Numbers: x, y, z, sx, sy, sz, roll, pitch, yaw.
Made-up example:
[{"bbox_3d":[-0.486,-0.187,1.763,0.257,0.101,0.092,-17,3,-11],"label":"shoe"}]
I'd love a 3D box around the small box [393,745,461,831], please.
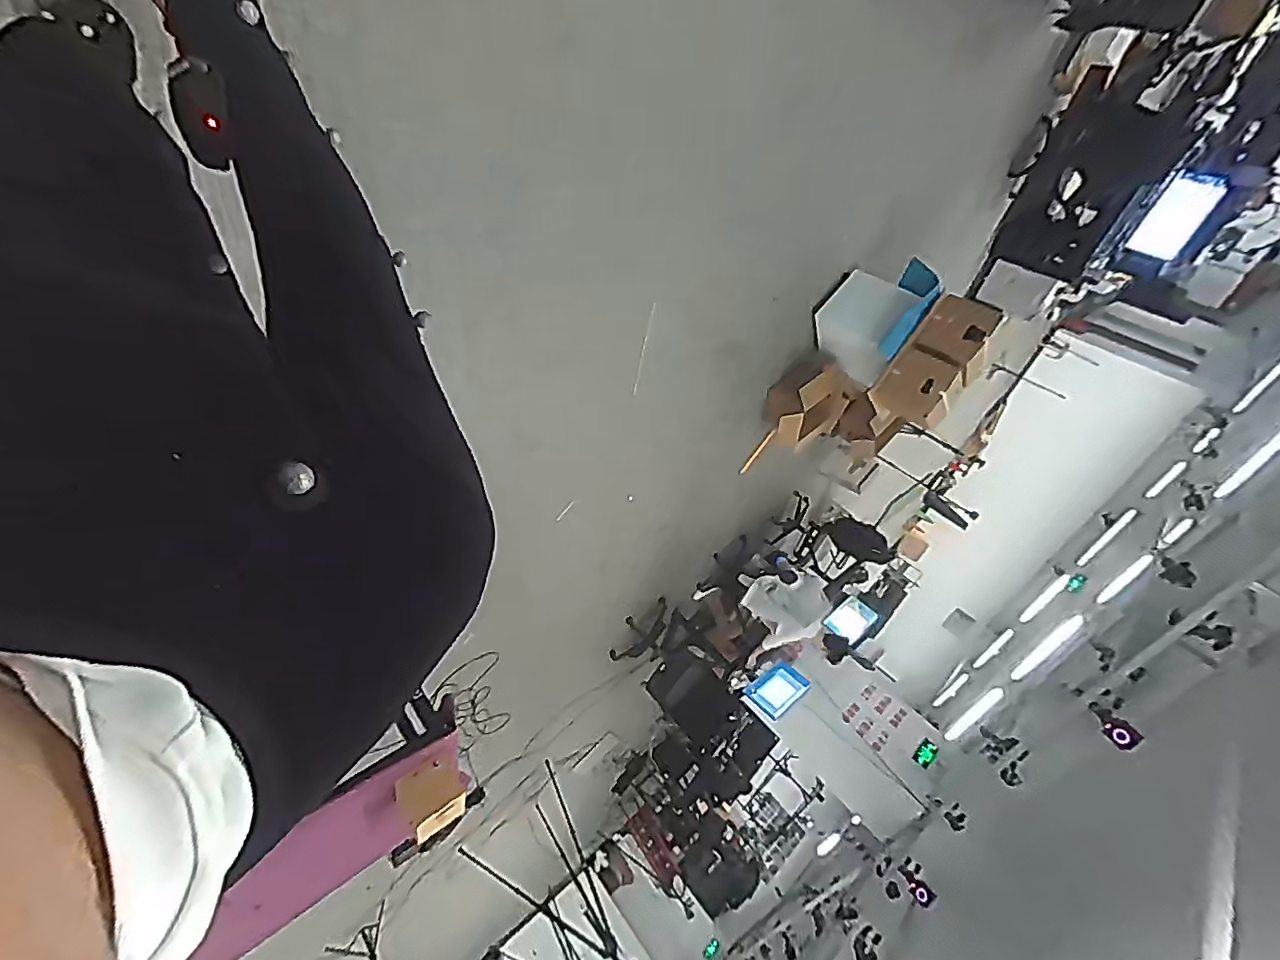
[{"bbox_3d":[-0.723,1.036,1.834,0.168,0.176,0.179,-21,142,-37],"label":"small box"}]
